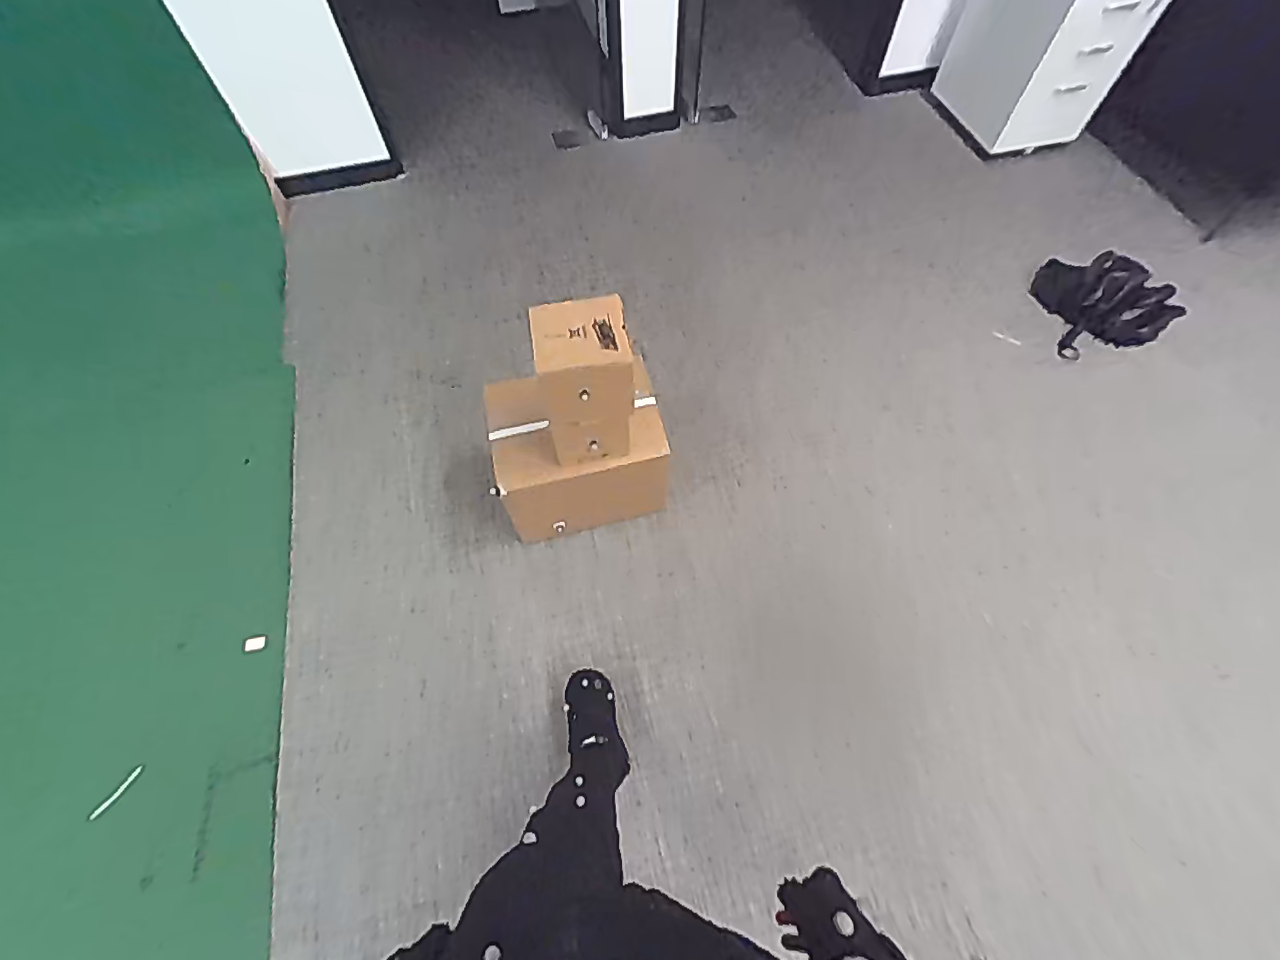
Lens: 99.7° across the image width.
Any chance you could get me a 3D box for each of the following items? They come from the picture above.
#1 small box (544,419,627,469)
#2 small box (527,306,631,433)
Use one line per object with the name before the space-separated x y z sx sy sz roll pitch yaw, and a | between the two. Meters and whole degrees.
small box | -0.126 -0.139 1.203 0.168 0.176 0.179 -11 63 -6
small box | -0.114 -0.211 1.055 0.179 0.176 0.168 -9 62 -4
